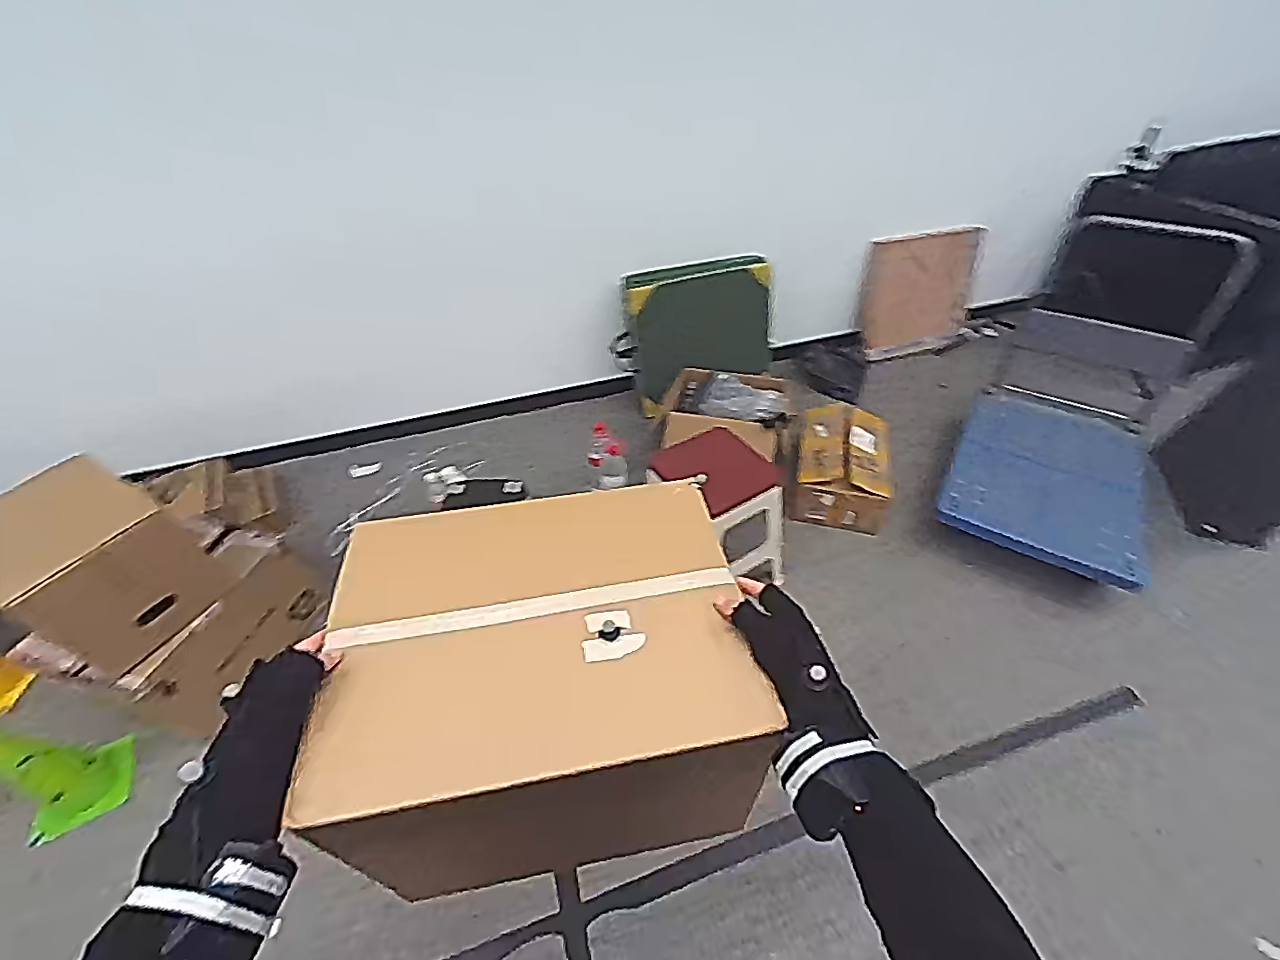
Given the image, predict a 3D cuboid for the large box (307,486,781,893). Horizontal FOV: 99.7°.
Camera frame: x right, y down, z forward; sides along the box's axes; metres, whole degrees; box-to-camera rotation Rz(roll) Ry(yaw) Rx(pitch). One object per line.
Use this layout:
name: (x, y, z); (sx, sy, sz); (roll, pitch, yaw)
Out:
large box: (-0.096, 0.243, 0.654); (0.408, 0.320, 0.320); (-7, 44, -7)
